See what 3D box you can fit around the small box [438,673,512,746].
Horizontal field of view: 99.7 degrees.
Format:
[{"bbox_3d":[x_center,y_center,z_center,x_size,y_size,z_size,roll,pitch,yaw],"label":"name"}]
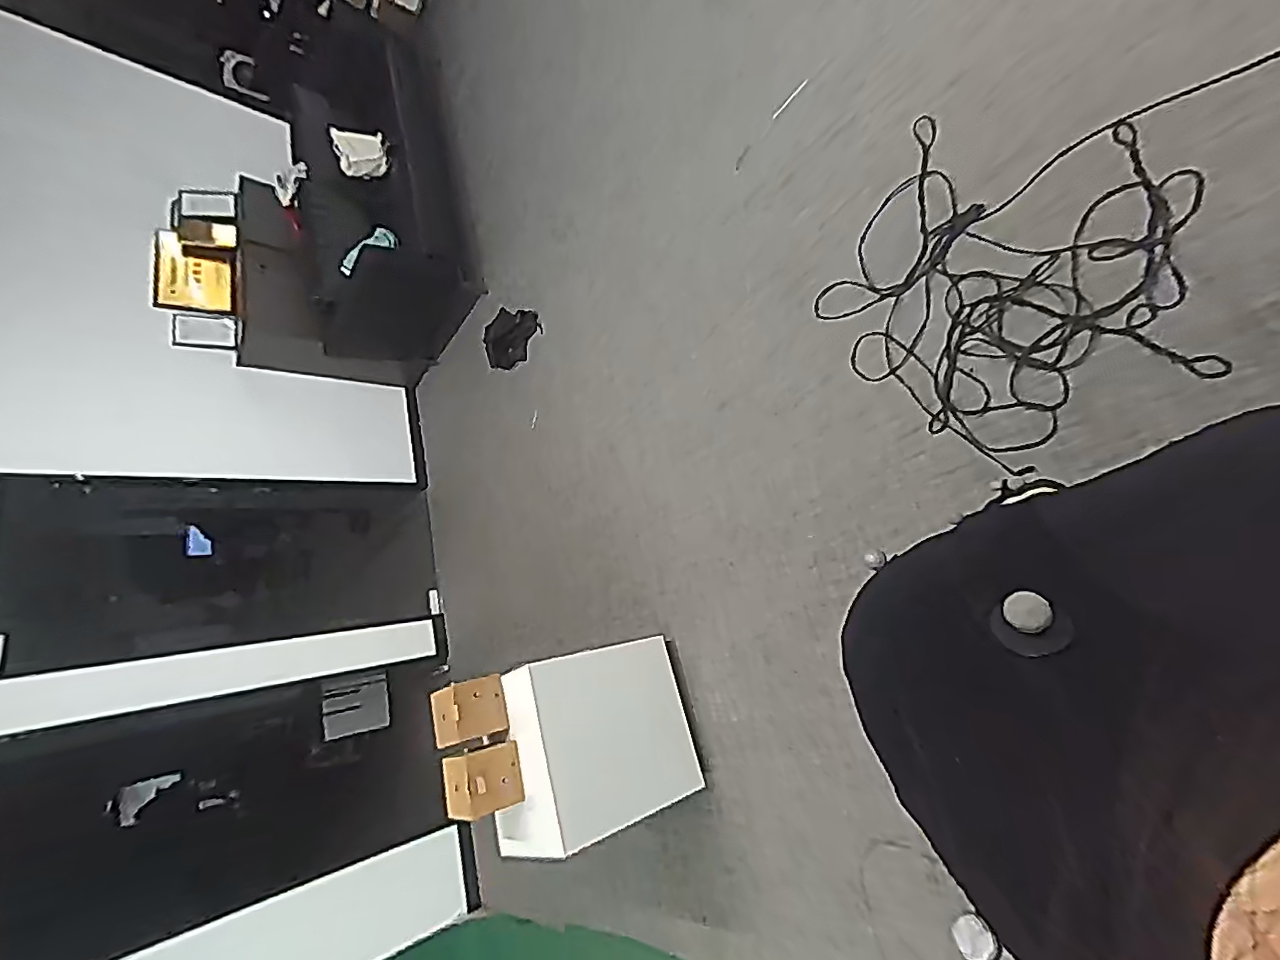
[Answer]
[{"bbox_3d":[-0.515,0.720,1.704,0.179,0.176,0.168,-37,61,42],"label":"small box"}]
